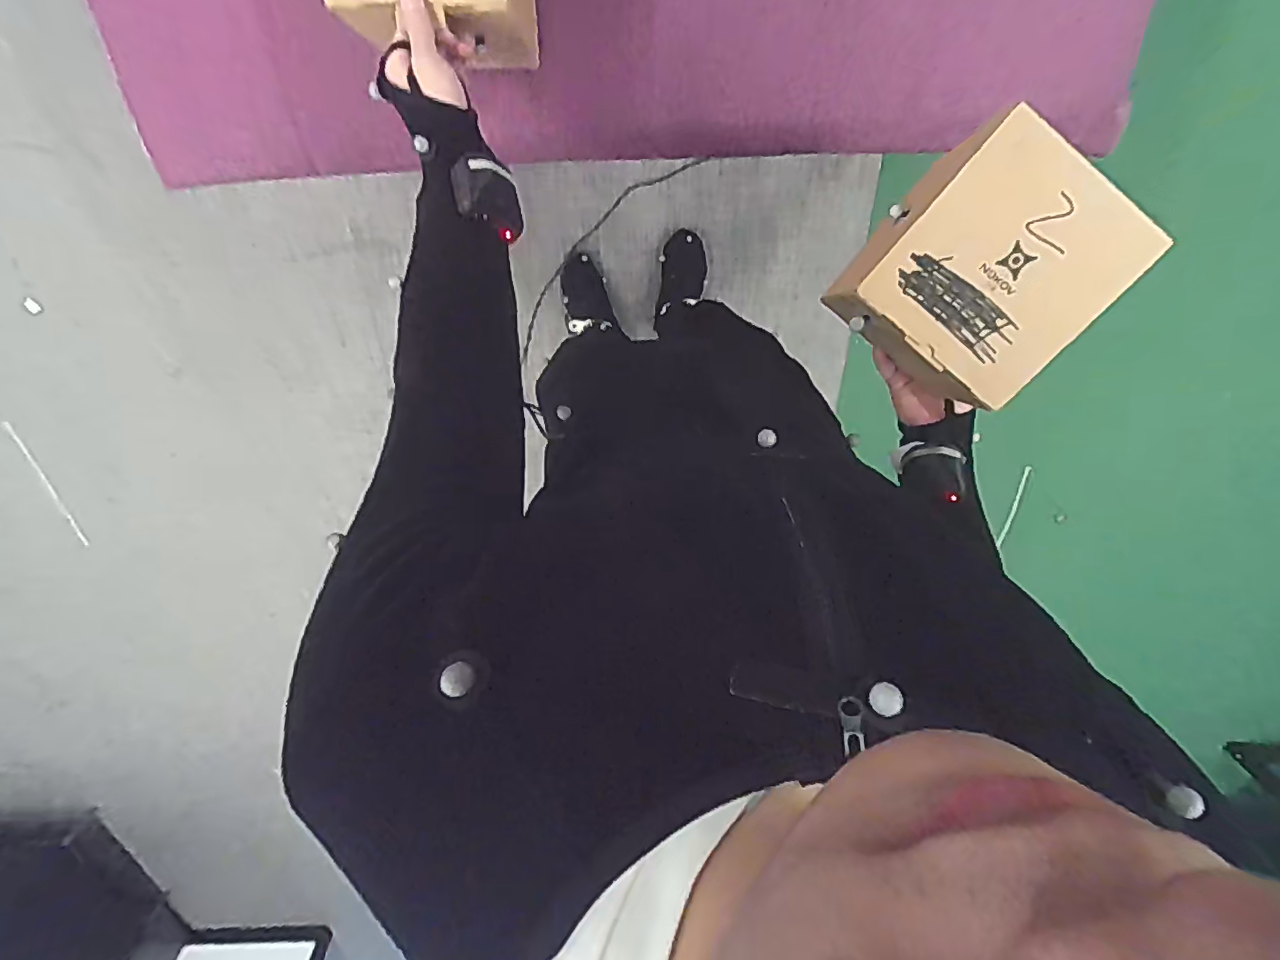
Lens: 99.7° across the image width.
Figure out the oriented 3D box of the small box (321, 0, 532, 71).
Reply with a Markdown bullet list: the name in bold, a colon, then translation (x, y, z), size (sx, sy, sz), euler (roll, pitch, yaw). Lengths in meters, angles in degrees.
- **small box**: translation (-0.203, -0.526, 0.526), size (0.168, 0.176, 0.179), euler (0, 112, -2)

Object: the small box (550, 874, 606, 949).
- **small box**: translation (-0.200, 1.441, 1.787), size (0.168, 0.176, 0.179), euler (0, 117, -1)

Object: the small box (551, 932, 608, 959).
- **small box**: translation (-0.192, 1.521, 1.643), size (0.168, 0.176, 0.179), euler (8, 116, -6)
